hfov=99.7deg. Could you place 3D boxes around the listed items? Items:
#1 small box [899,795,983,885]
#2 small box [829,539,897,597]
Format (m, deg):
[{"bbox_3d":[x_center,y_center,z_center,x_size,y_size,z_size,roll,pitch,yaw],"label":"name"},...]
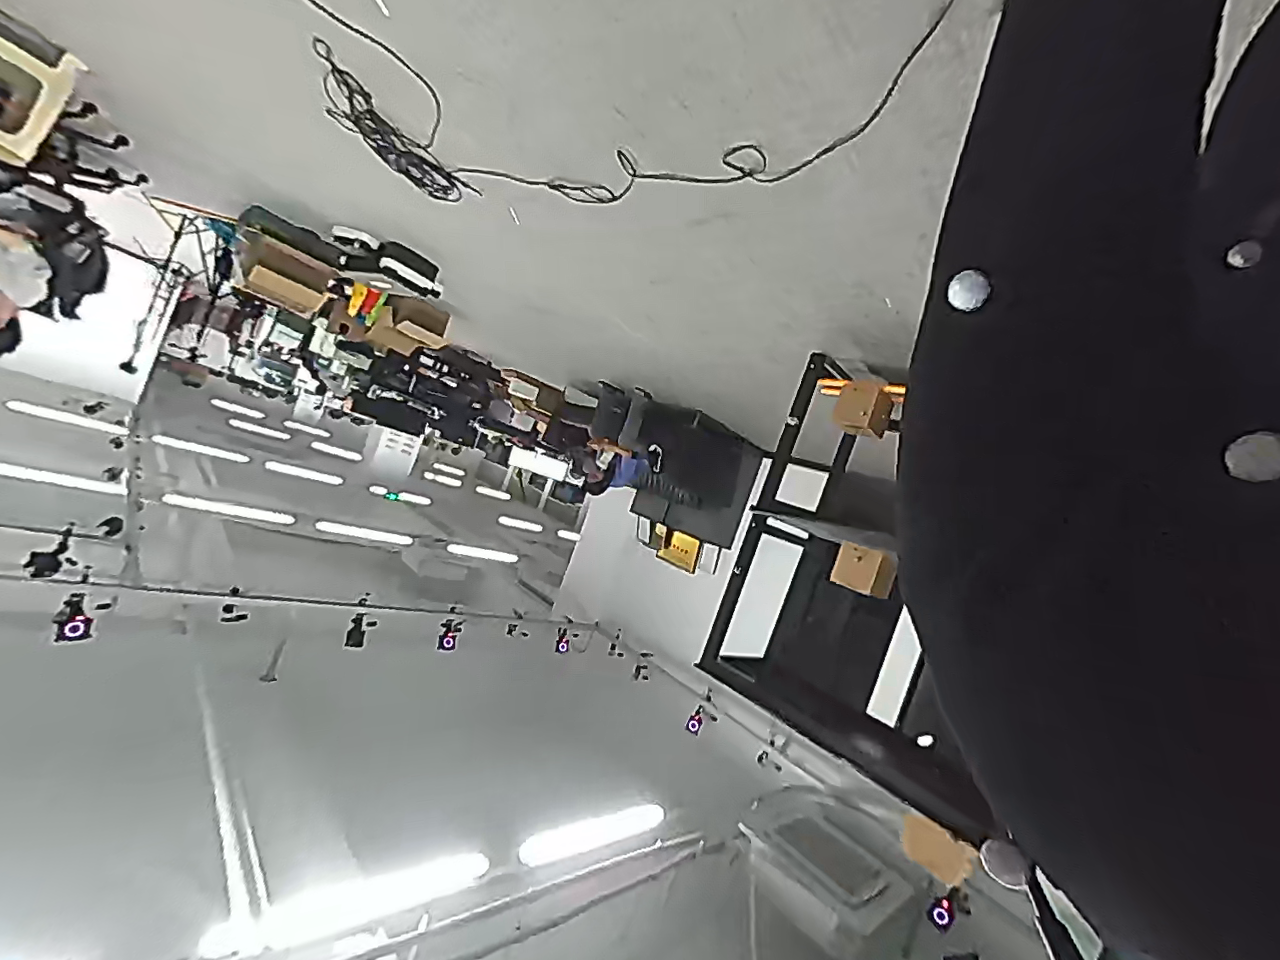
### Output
[{"bbox_3d":[0.971,1.148,1.740,0.179,0.176,0.168,19,180,-40],"label":"small box"},{"bbox_3d":[0.873,0.341,2.103,0.179,0.176,0.168,20,179,-43],"label":"small box"}]
